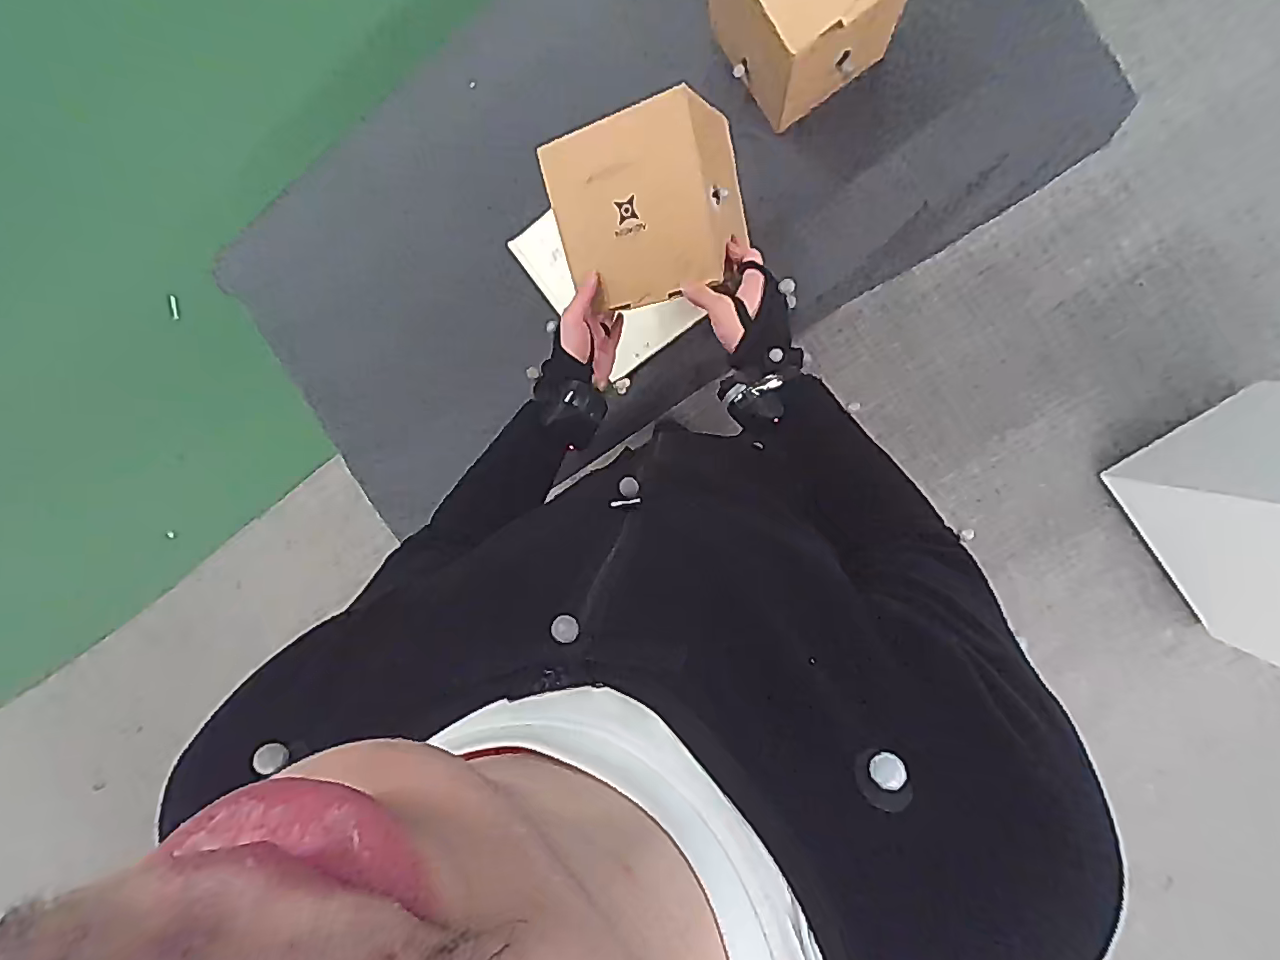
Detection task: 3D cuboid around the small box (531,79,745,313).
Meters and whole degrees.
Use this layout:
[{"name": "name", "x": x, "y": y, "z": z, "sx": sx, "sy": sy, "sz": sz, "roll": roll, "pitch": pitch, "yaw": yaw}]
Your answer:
[{"name": "small box", "x": 0.012, "y": -0.299, "z": 0.601, "sx": 0.168, "sy": 0.176, "sz": 0.179, "roll": -5, "pitch": 110, "yaw": 24}]

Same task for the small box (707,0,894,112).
[{"name": "small box", "x": 0.194, "y": -0.592, "z": 0.654, "sx": 0.168, "sy": 0.176, "sz": 0.179, "roll": -33, "pitch": 93, "yaw": 11}]
